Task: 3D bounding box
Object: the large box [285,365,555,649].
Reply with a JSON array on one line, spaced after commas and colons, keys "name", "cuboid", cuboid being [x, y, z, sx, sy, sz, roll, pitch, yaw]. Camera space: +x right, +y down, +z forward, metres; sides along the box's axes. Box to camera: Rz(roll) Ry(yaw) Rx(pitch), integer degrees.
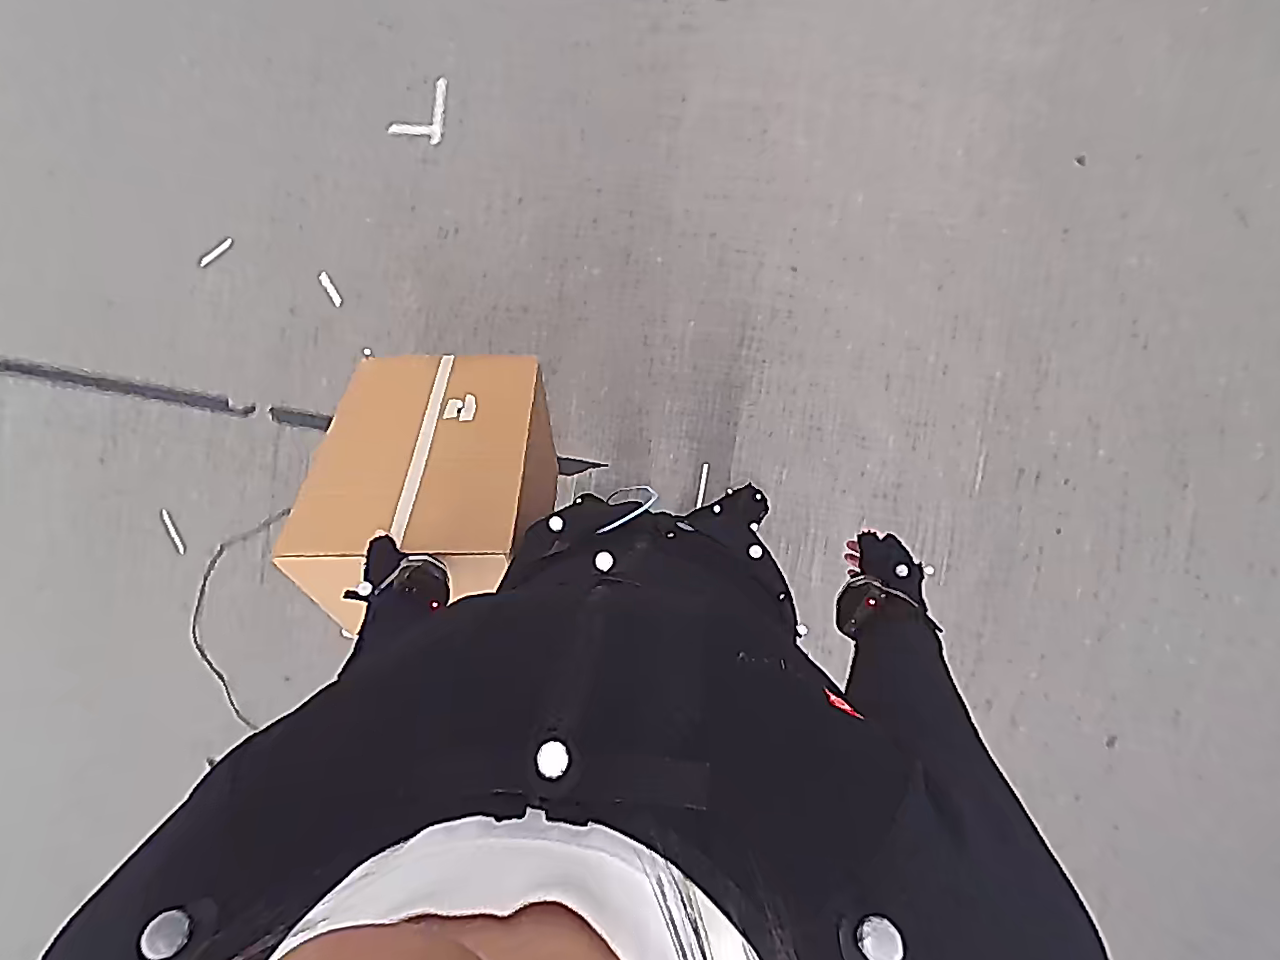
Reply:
[{"name": "large box", "cuboid": [-0.334, 0.048, 0.965, 0.320, 0.320, 0.408, -1, 51, -1]}]
